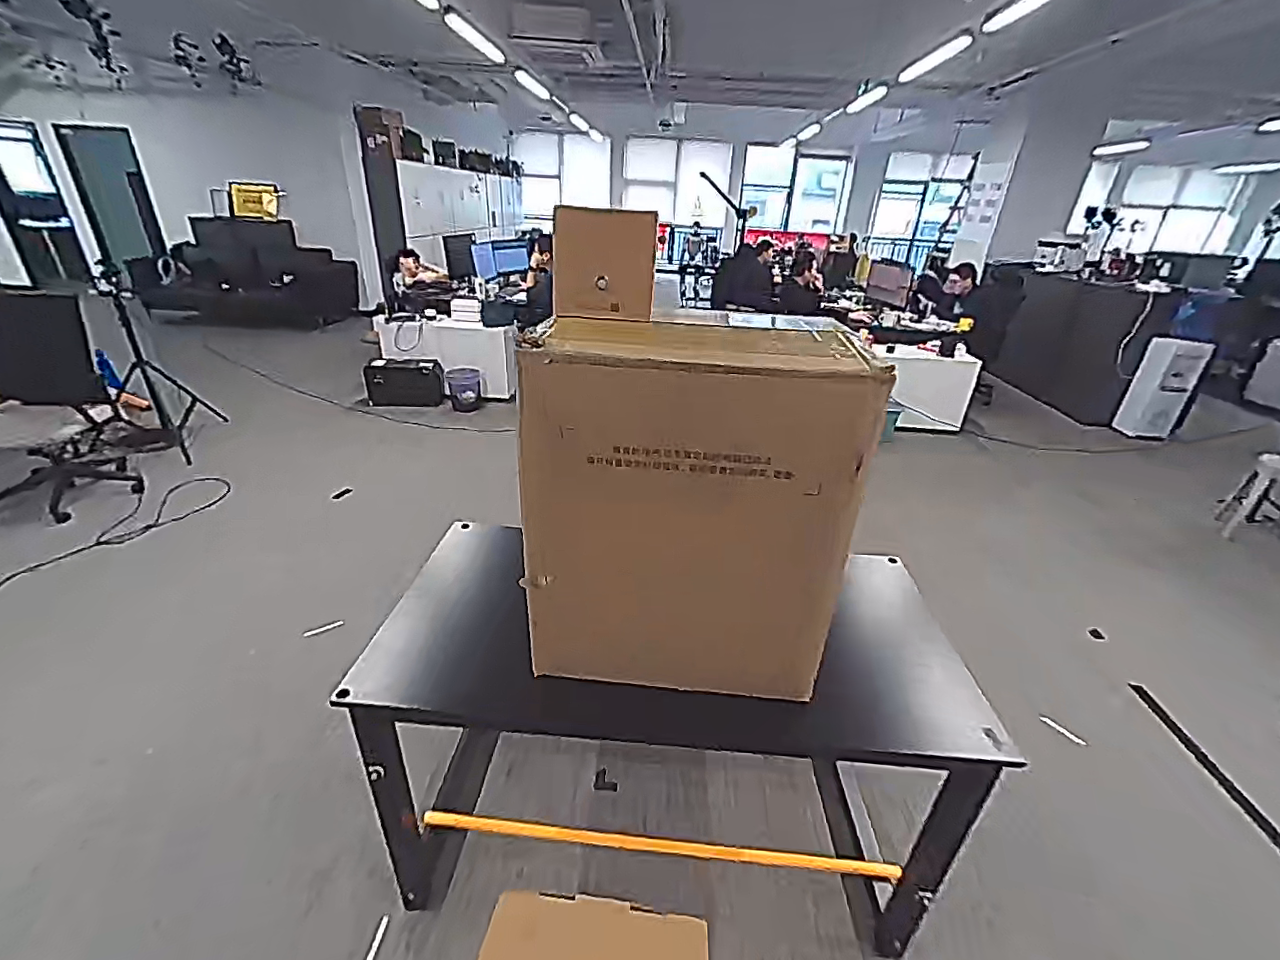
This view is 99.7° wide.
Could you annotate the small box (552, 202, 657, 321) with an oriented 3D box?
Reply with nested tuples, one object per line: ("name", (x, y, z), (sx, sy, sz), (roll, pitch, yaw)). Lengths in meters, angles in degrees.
("small box", (-0.059, -0.380, 0.942), (0.168, 0.176, 0.179), (3, 25, 0))
